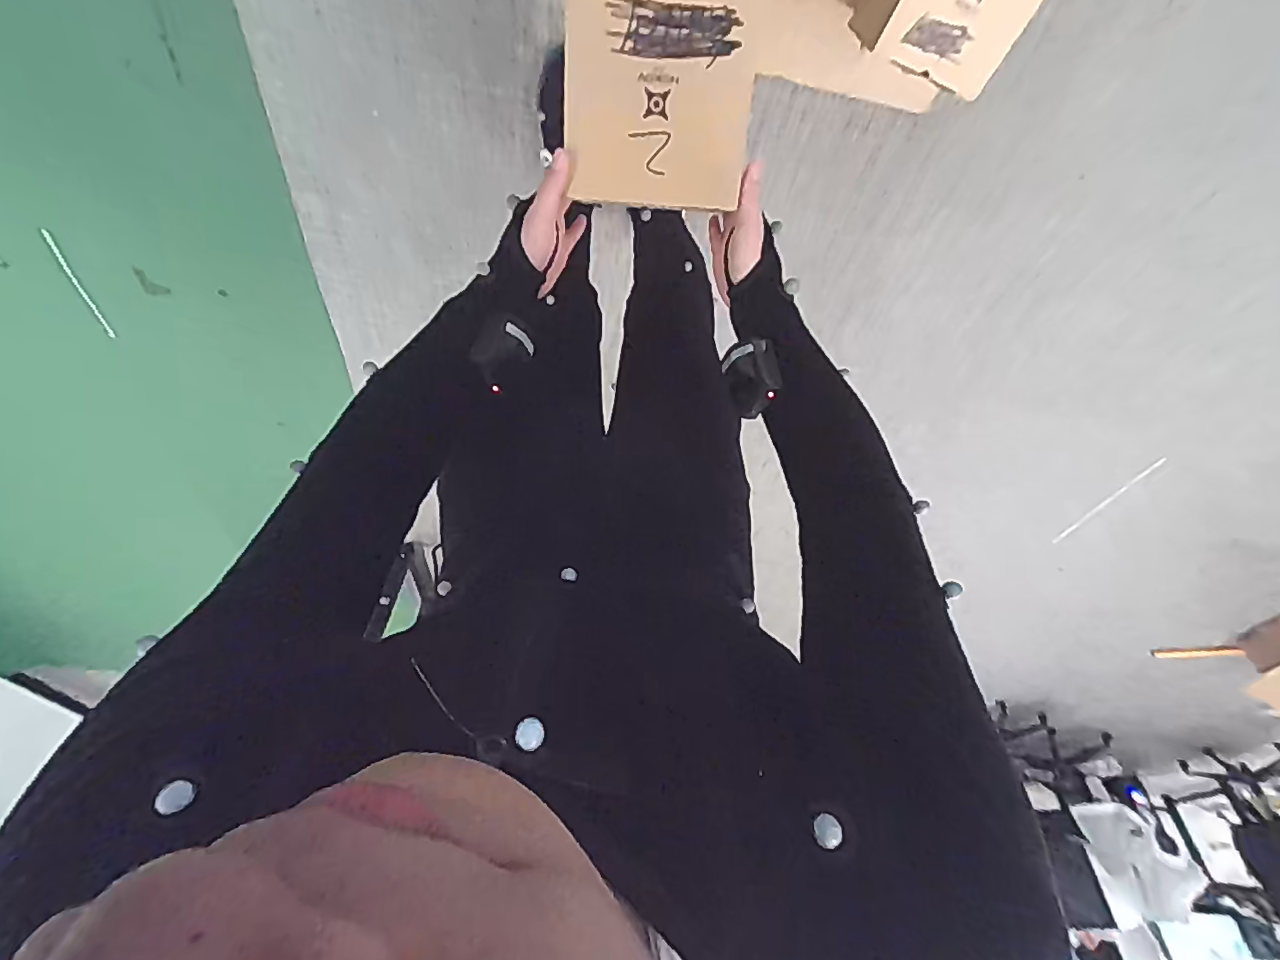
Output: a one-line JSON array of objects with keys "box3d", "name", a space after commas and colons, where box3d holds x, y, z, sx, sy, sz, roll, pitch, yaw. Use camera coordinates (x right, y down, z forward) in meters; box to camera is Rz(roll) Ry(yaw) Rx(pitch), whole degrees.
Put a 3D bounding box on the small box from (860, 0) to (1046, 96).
[{"box3d": [0.411, -0.649, 0.700, 0.168, 0.176, 0.179, 15, 137, -13], "name": "small box"}]
